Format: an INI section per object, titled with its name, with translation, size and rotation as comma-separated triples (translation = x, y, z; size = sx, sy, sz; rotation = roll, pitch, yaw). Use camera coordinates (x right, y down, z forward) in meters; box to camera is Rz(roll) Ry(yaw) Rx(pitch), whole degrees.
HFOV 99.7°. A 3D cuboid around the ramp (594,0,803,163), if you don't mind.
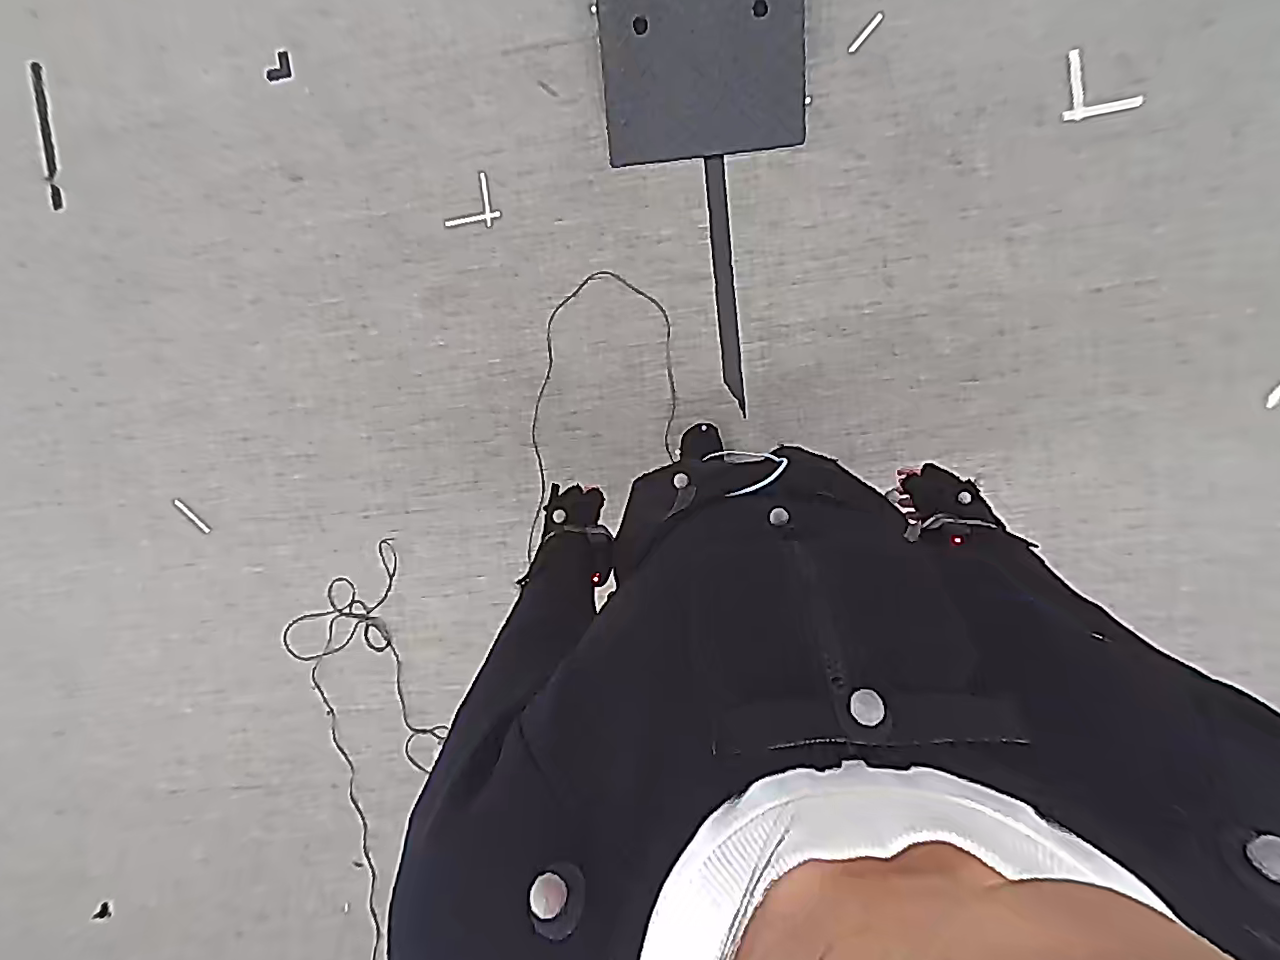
[ramp]
translation = 0.120, -1.308, 1.234
size = 0.509, 0.206, 0.991
rotation = -5, 95, 5
